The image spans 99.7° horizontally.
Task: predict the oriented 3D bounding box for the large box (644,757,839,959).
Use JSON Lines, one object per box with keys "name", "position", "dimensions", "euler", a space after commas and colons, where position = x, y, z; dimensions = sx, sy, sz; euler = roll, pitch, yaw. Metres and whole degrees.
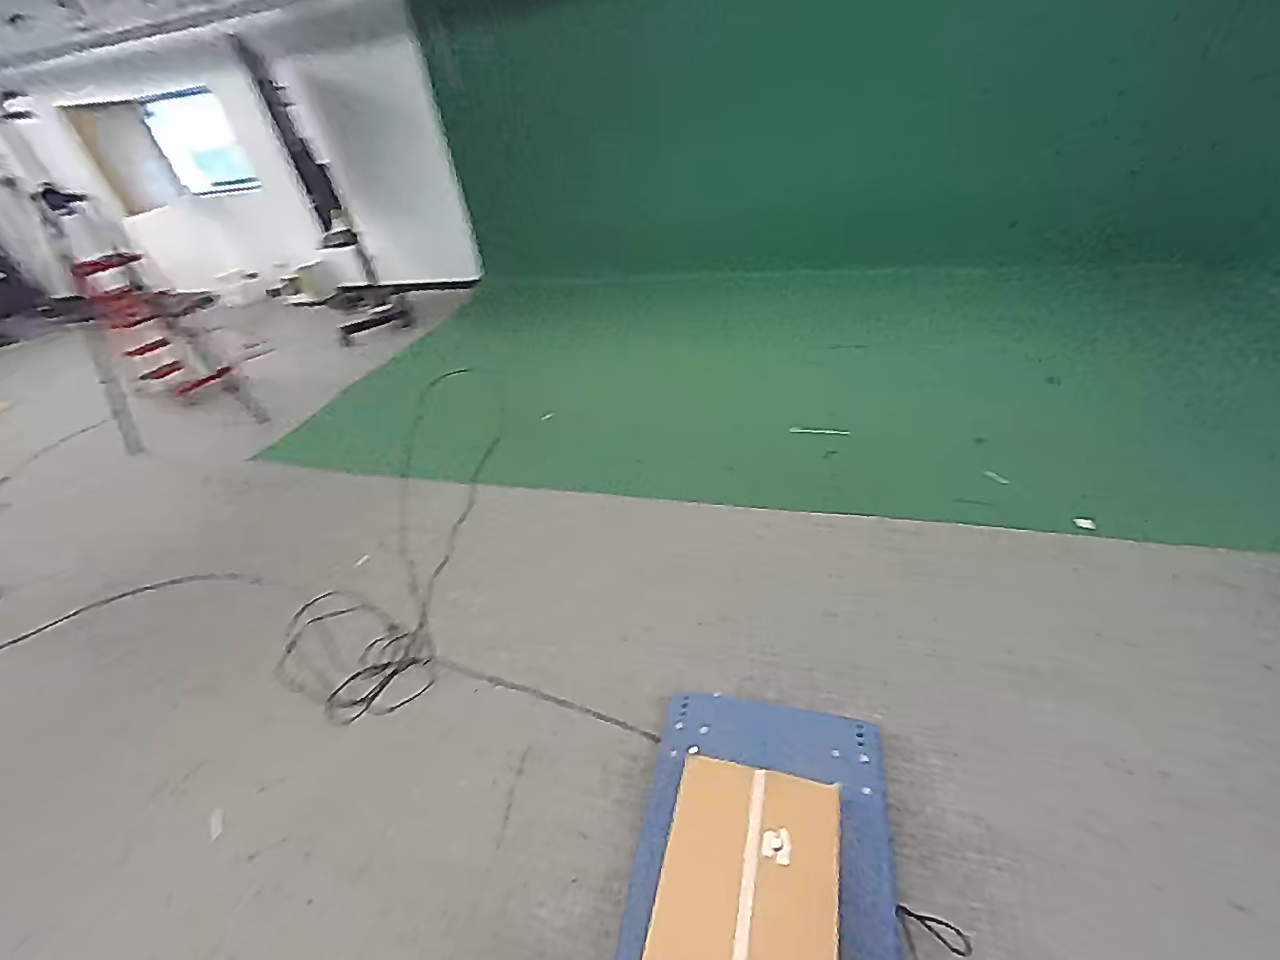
{"name": "large box", "position": [0.211, 0.846, 1.063], "dimensions": [0.320, 0.320, 0.408], "euler": [5, 39, 16]}
